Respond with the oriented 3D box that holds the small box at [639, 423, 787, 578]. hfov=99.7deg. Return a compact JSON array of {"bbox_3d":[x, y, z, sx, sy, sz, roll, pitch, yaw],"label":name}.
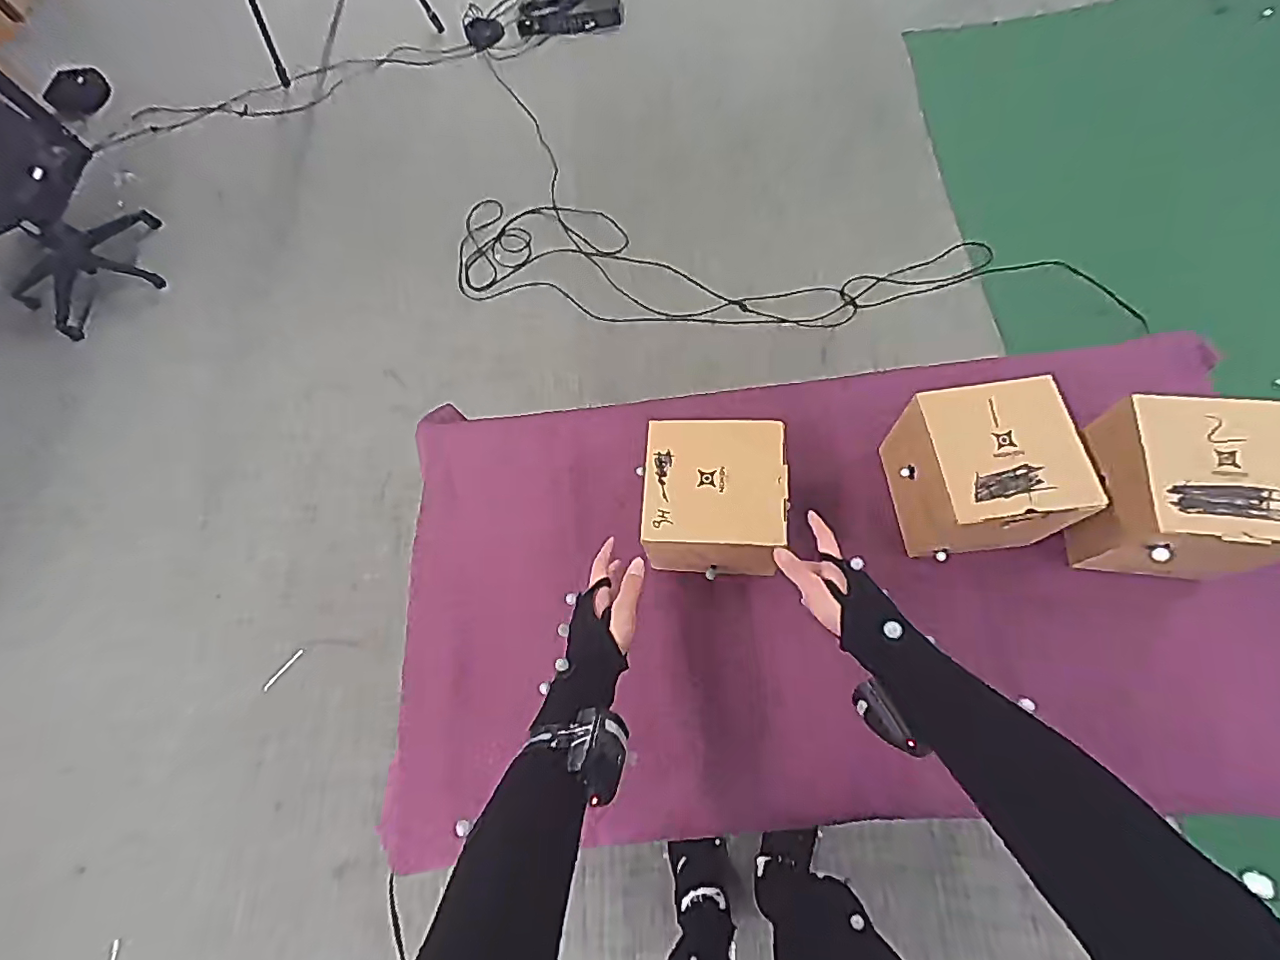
[{"bbox_3d":[0.100,0.035,0.742,0.179,0.176,0.168,2,68,8],"label":"small box"}]
